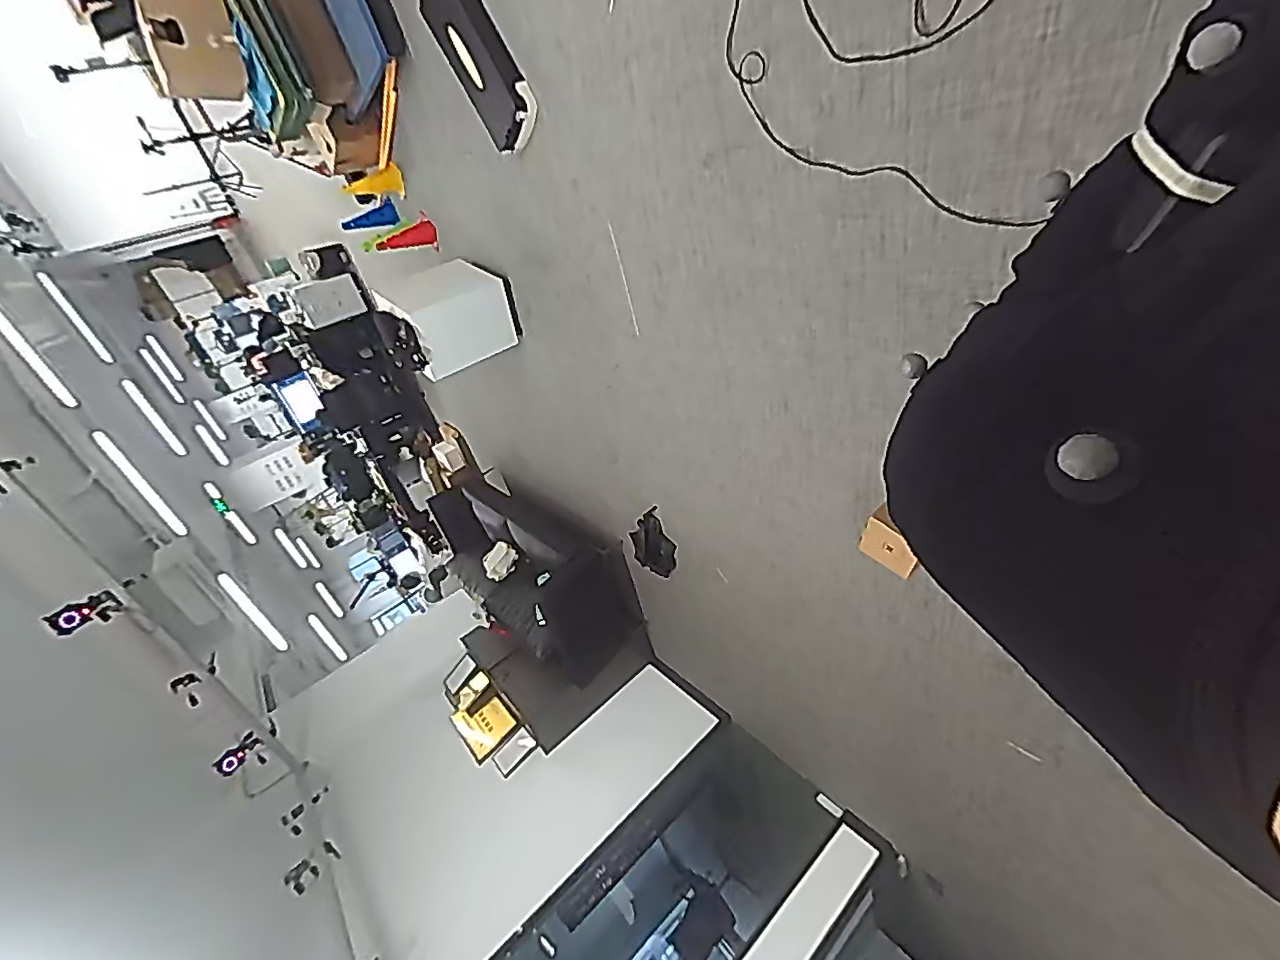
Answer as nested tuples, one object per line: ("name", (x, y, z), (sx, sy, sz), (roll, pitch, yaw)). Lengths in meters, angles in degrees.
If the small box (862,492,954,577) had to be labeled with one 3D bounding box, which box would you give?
("small box", (0.833, 0.161, 1.687), (0.179, 0.176, 0.168), (37, 148, 33))
